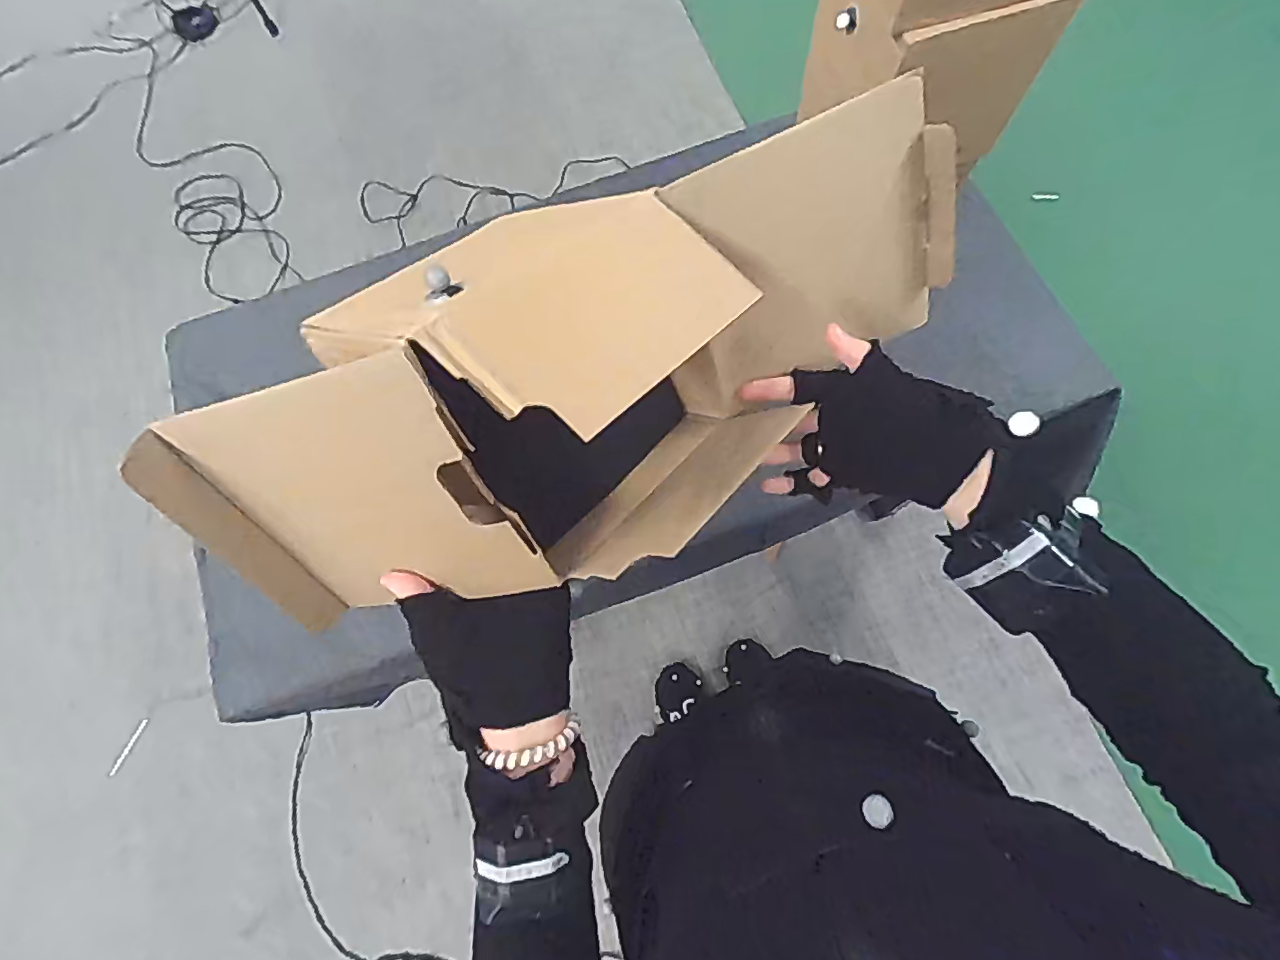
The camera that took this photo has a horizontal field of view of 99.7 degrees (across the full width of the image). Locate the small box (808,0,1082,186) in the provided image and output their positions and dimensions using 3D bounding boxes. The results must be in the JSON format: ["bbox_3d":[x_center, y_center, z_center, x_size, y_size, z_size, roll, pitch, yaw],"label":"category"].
[{"bbox_3d":[0.293,-0.454,0.566,0.168,0.176,0.179,-15,73,1],"label":"small box"}]

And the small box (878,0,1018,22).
[{"bbox_3d":[0.274,-0.502,0.412,0.179,0.176,0.168,-13,73,1],"label":"small box"}]

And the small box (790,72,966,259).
[{"bbox_3d":[0.310,-0.425,0.728,0.179,0.176,0.168,-9,73,2],"label":"small box"}]
